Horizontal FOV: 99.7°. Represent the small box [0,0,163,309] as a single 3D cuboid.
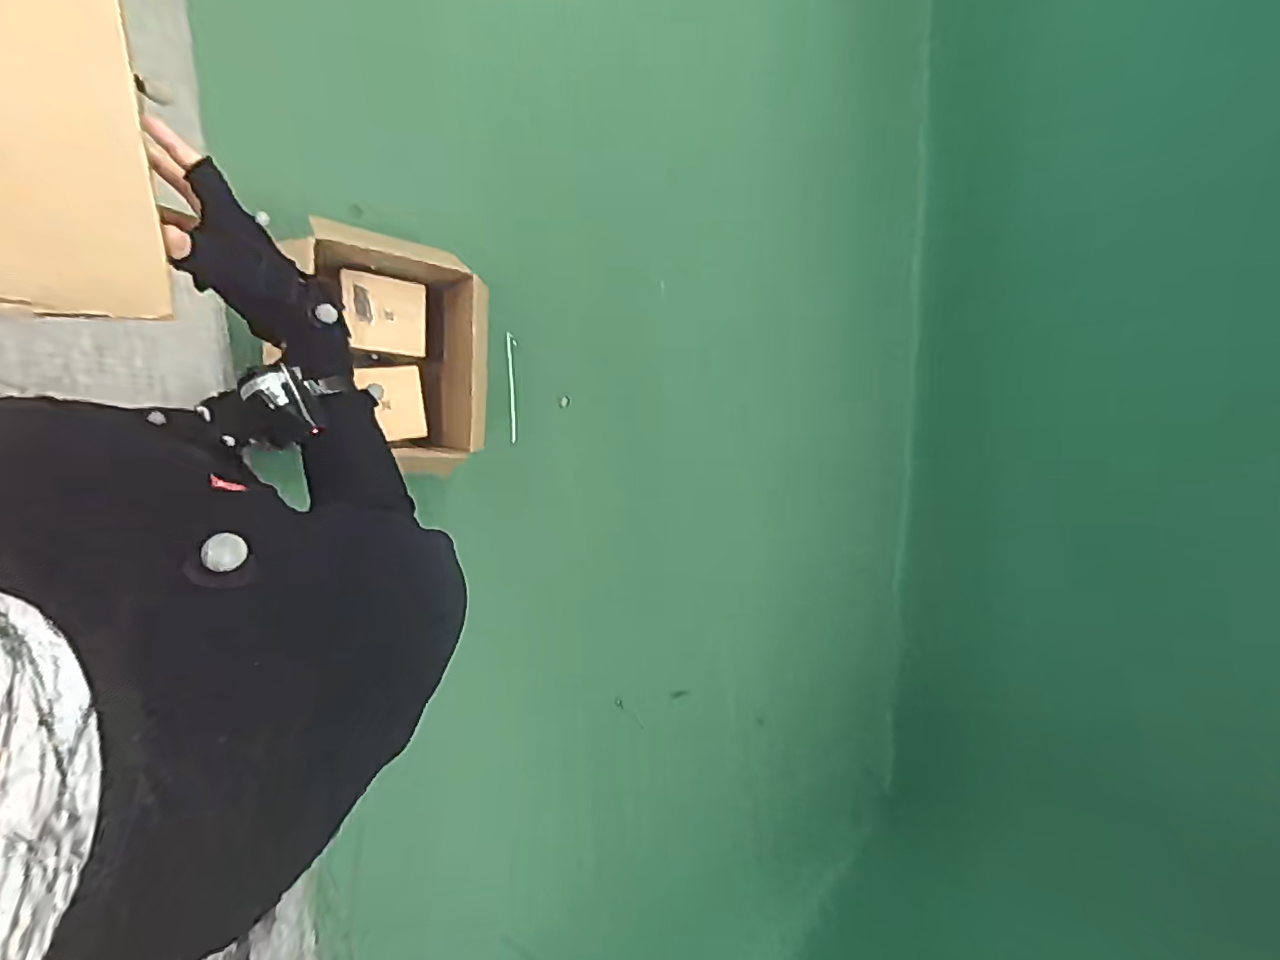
[{"bbox_3d":[-0.394,-0.205,0.304,0.168,0.176,0.179,-10,121,-38],"label":"small box"}]
